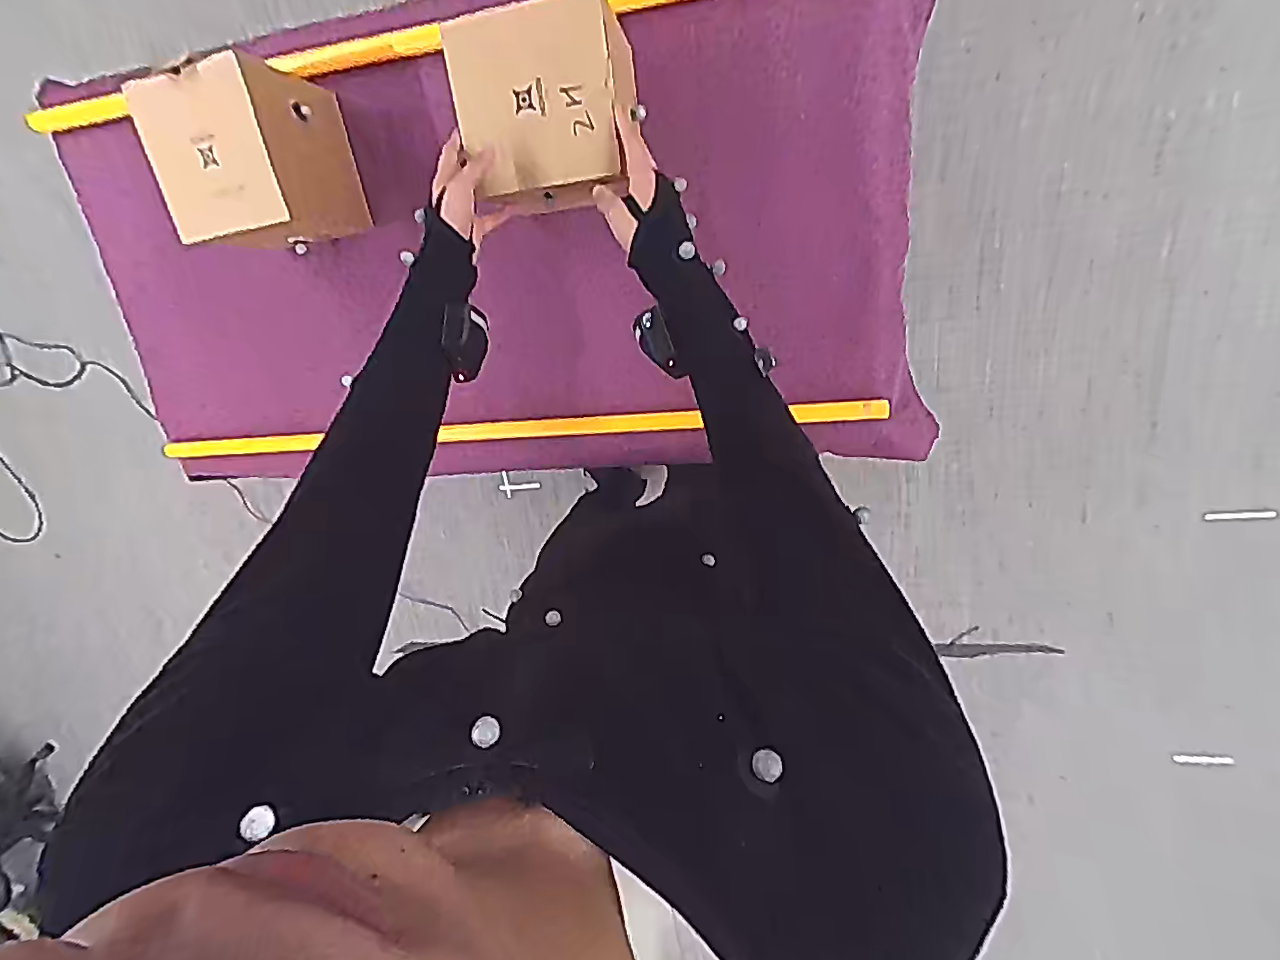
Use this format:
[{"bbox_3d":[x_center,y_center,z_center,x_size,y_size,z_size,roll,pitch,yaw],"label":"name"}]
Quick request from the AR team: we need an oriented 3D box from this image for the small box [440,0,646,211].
[{"bbox_3d":[-0.099,-0.424,0.634,0.179,0.176,0.168,-3,110,11],"label":"small box"}]

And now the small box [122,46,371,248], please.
[{"bbox_3d":[-0.494,-0.415,0.708,0.168,0.176,0.179,-5,109,12],"label":"small box"}]
